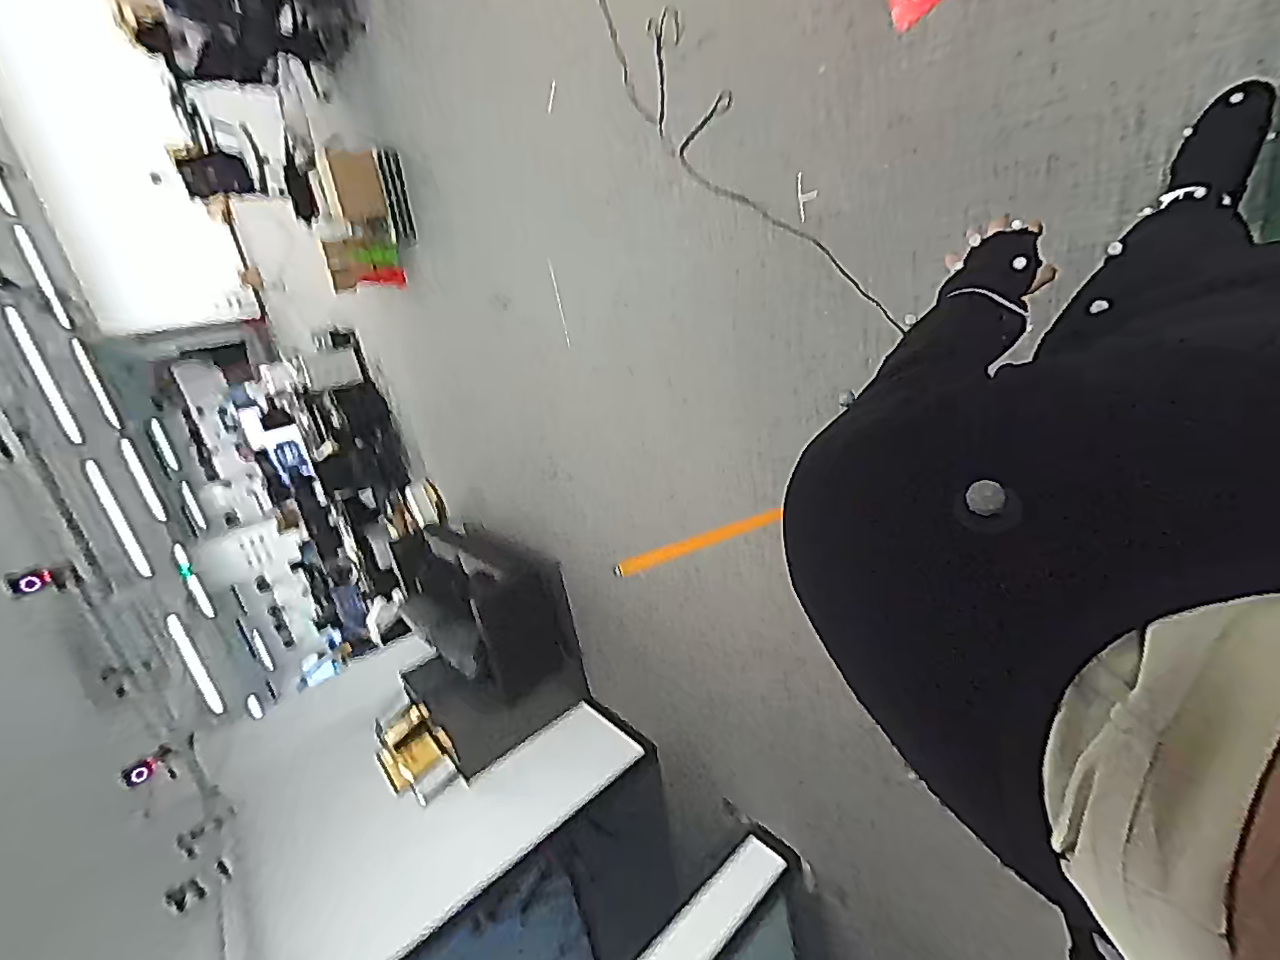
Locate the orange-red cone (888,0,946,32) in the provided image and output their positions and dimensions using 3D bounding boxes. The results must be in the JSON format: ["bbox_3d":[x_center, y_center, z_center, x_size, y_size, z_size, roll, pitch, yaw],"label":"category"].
[{"bbox_3d":[0.547,-1.160,1.170,0.198,0.360,0.199,-11,99,54],"label":"orange-red cone"}]
